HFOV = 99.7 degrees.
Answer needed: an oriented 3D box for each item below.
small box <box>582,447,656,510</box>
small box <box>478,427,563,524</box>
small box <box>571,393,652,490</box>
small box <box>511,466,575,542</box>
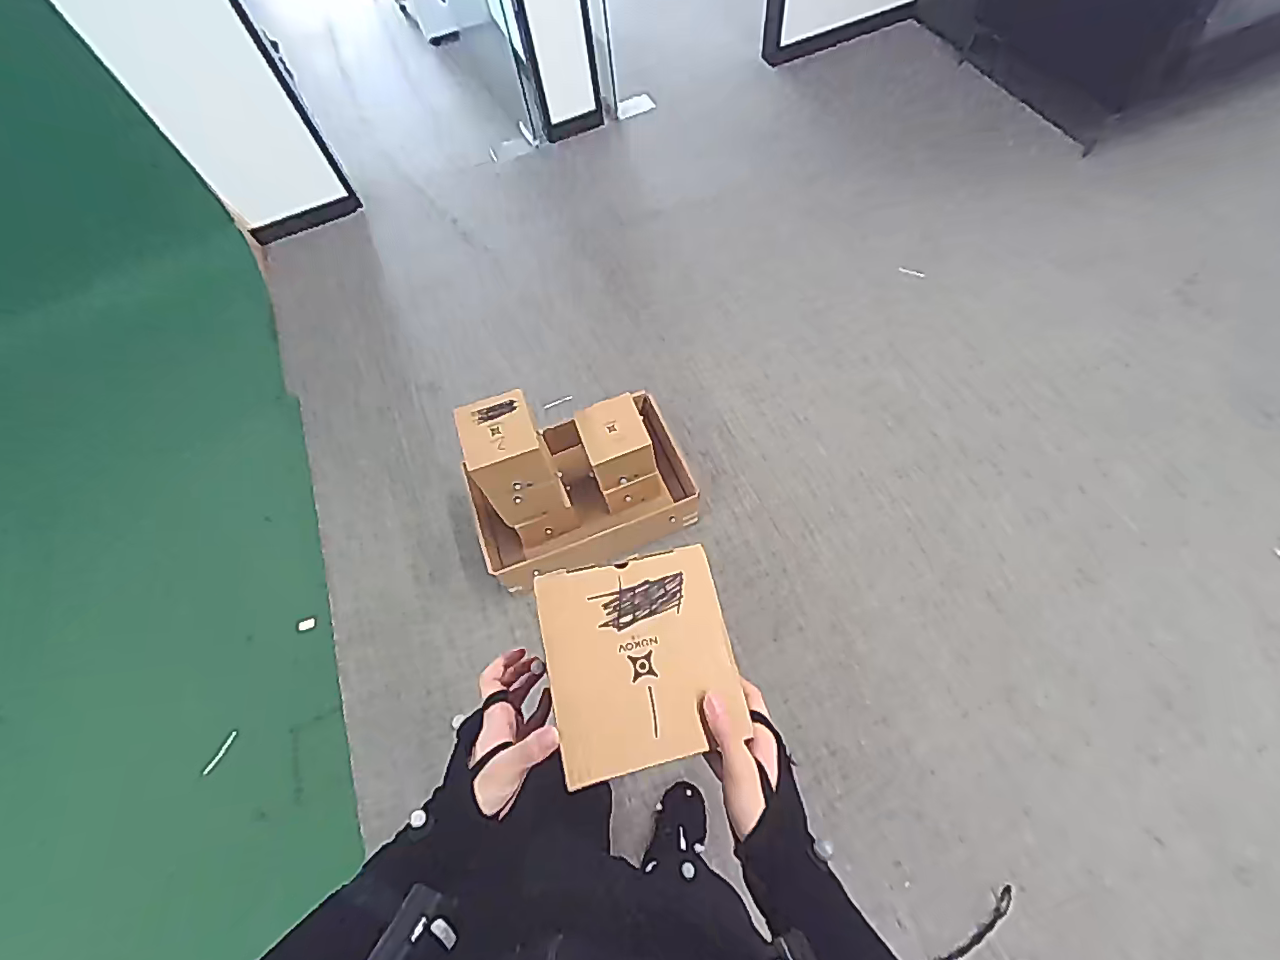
[{"bbox_3d":[-0.058,-0.027,1.620,0.168,0.176,0.179,-22,64,-6],"label":"small box"},{"bbox_3d":[-0.316,-0.008,1.444,0.168,0.176,0.179,-18,63,-4],"label":"small box"},{"bbox_3d":[-0.074,-0.102,1.475,0.168,0.176,0.179,-21,64,-4],"label":"small box"},{"bbox_3d":[-0.301,0.065,1.591,0.168,0.176,0.179,-22,64,-8],"label":"small box"}]
